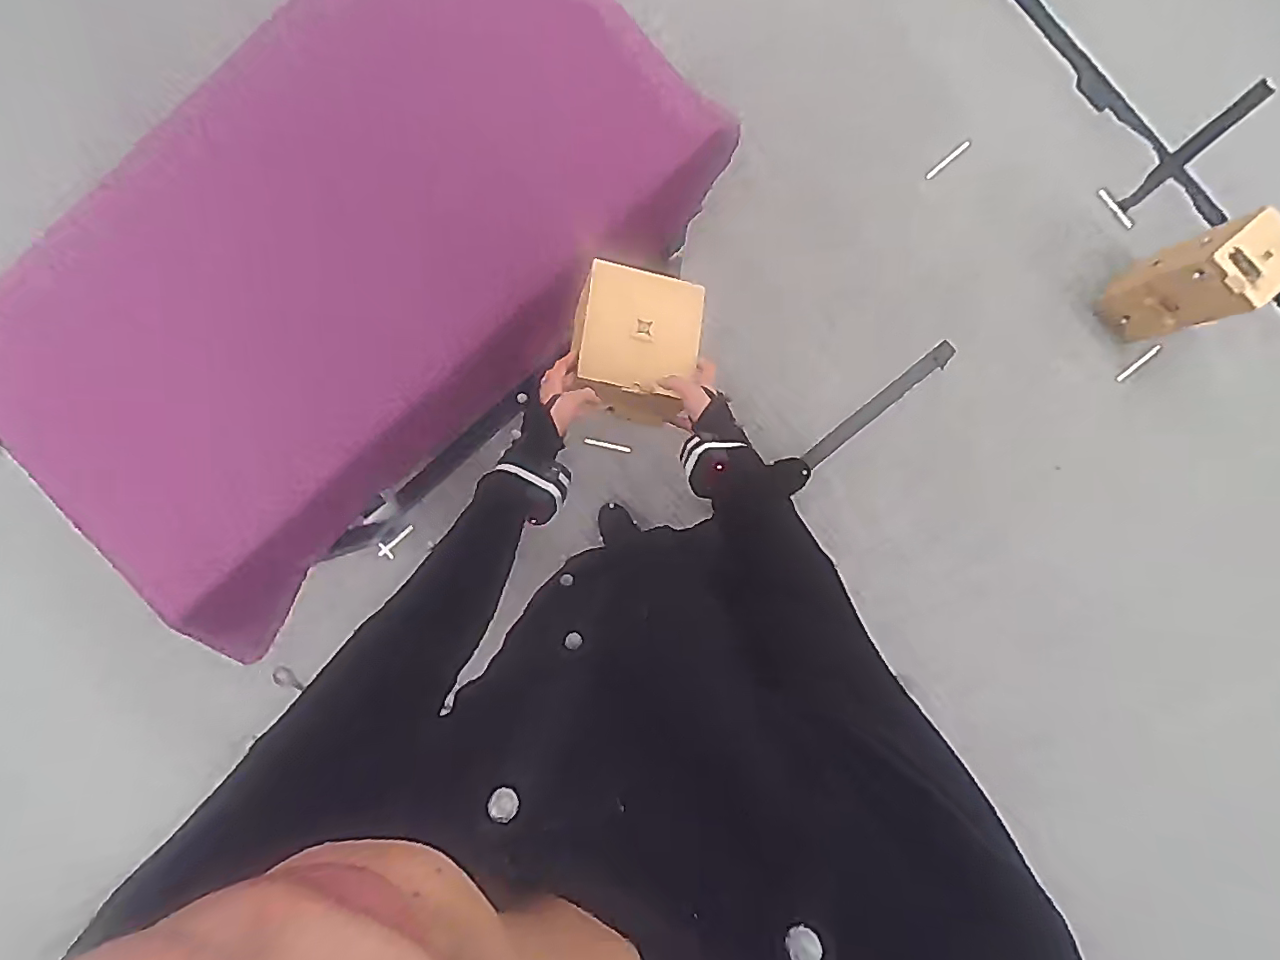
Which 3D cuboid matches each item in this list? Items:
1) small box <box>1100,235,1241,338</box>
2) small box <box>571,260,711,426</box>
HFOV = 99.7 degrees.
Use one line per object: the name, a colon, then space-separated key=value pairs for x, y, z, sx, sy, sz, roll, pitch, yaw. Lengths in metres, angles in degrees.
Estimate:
small box: x=1.414 y=-0.512 z=1.455 sx=0.179 sy=0.176 sz=0.168 roll=-44 pitch=91 yaw=4
small box: x=-0.006 y=-0.195 z=0.820 sx=0.168 sy=0.176 sz=0.179 roll=9 pitch=82 yaw=-13
